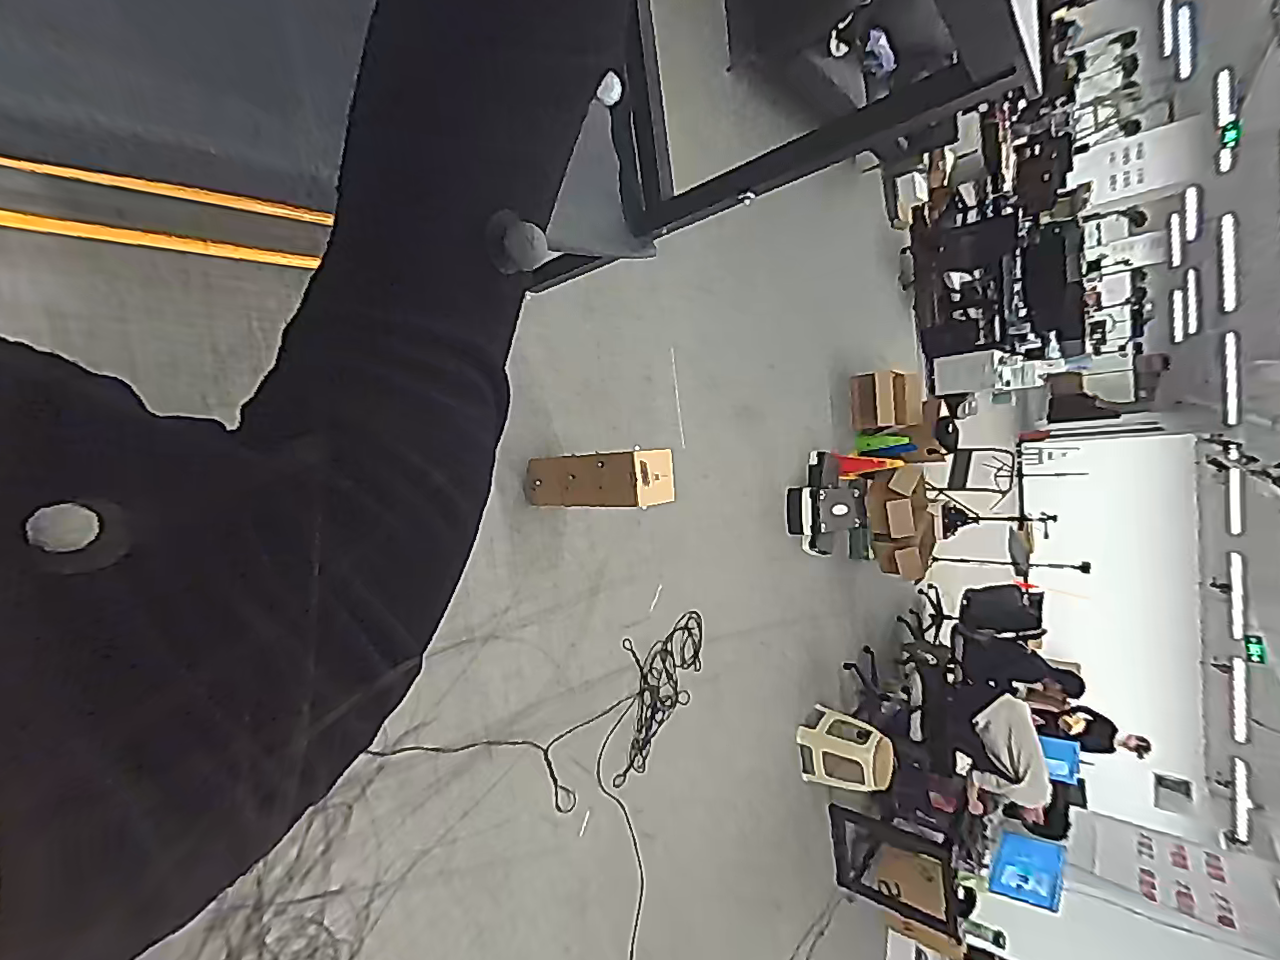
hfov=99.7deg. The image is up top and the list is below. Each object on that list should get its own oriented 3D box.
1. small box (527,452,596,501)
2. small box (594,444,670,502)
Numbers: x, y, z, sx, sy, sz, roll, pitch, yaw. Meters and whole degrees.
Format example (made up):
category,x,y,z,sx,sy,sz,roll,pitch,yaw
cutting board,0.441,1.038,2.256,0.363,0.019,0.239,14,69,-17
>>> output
category,x,y,z,sx,sy,sz,roll,pitch,yaw
small box,-0.274,-0.013,1.888,0.179,0.176,0.168,-4,91,-48
small box,-0.029,-0.022,1.673,0.179,0.176,0.168,-7,95,-49
